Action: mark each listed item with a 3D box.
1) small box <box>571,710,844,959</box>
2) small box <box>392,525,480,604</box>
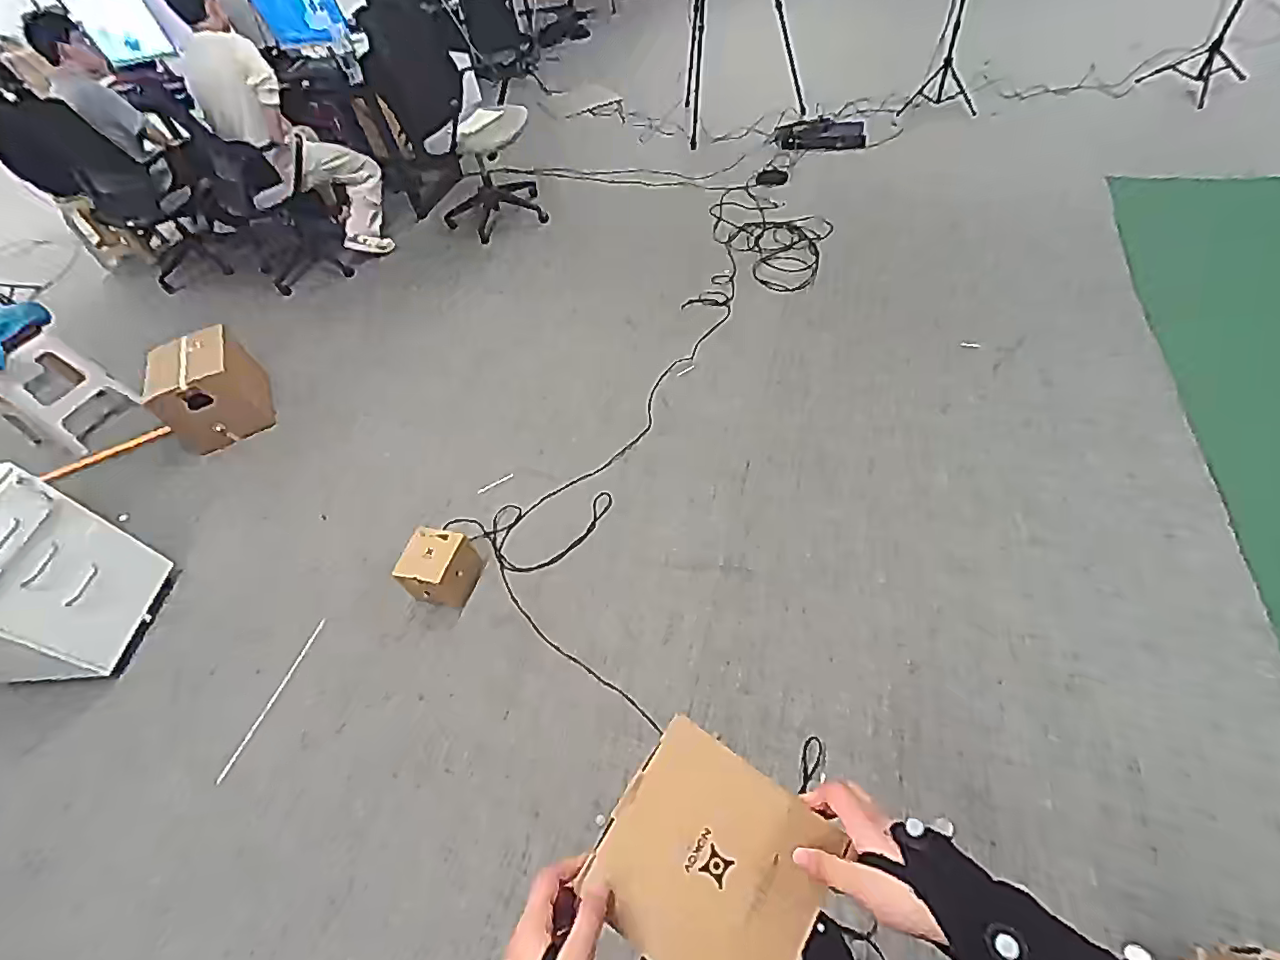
[{"bbox_3d":[0.058,0.352,0.520,0.179,0.176,0.168,30,67,15],"label":"small box"},{"bbox_3d":[-0.625,0.267,1.685,0.168,0.176,0.179,7,55,15],"label":"small box"}]
